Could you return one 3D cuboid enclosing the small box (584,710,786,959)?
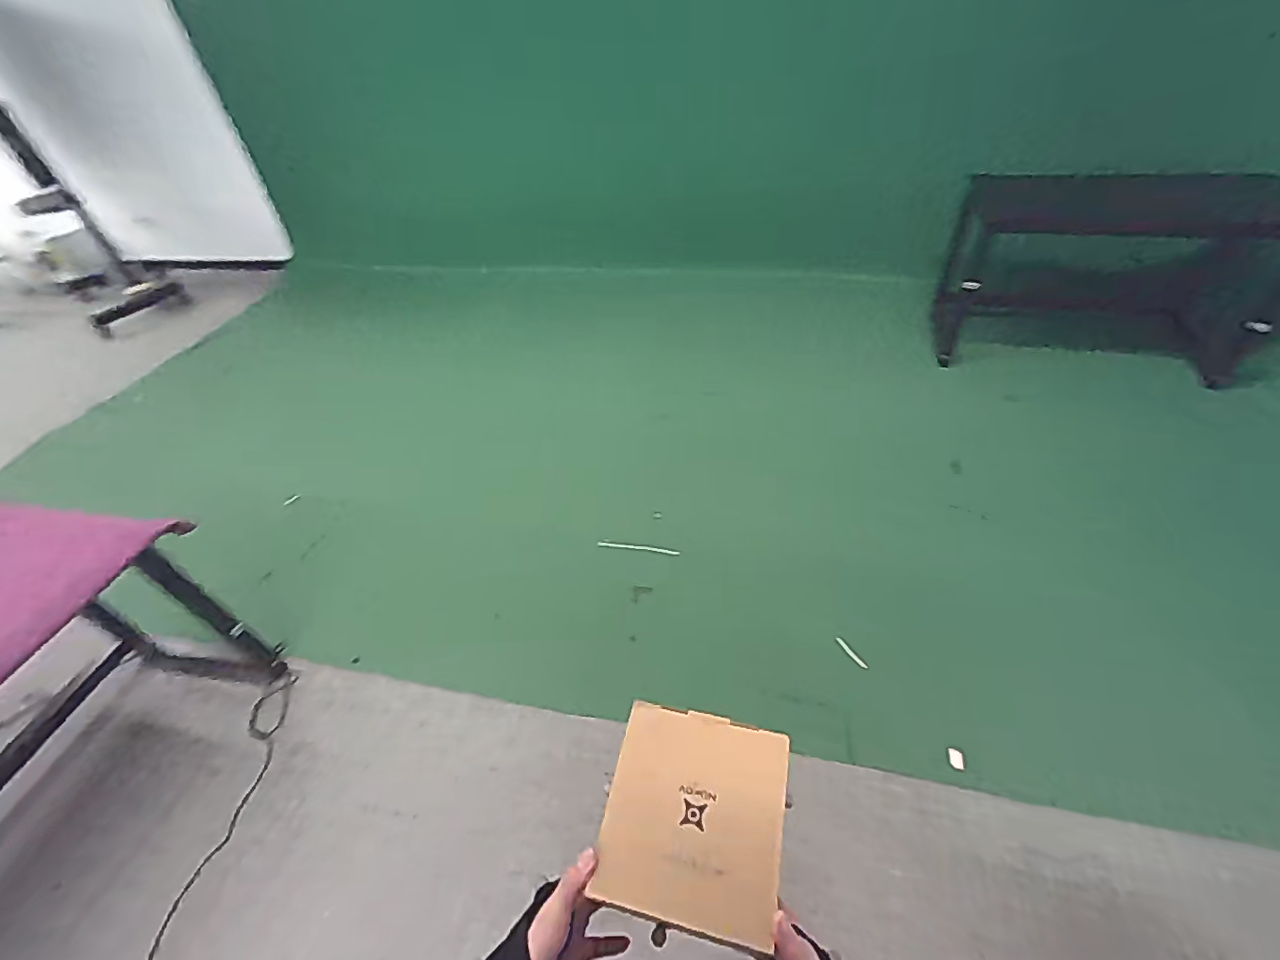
[{"bbox_3d":[0.052,0.373,0.566,0.168,0.176,0.179,8,50,12],"label":"small box"}]
